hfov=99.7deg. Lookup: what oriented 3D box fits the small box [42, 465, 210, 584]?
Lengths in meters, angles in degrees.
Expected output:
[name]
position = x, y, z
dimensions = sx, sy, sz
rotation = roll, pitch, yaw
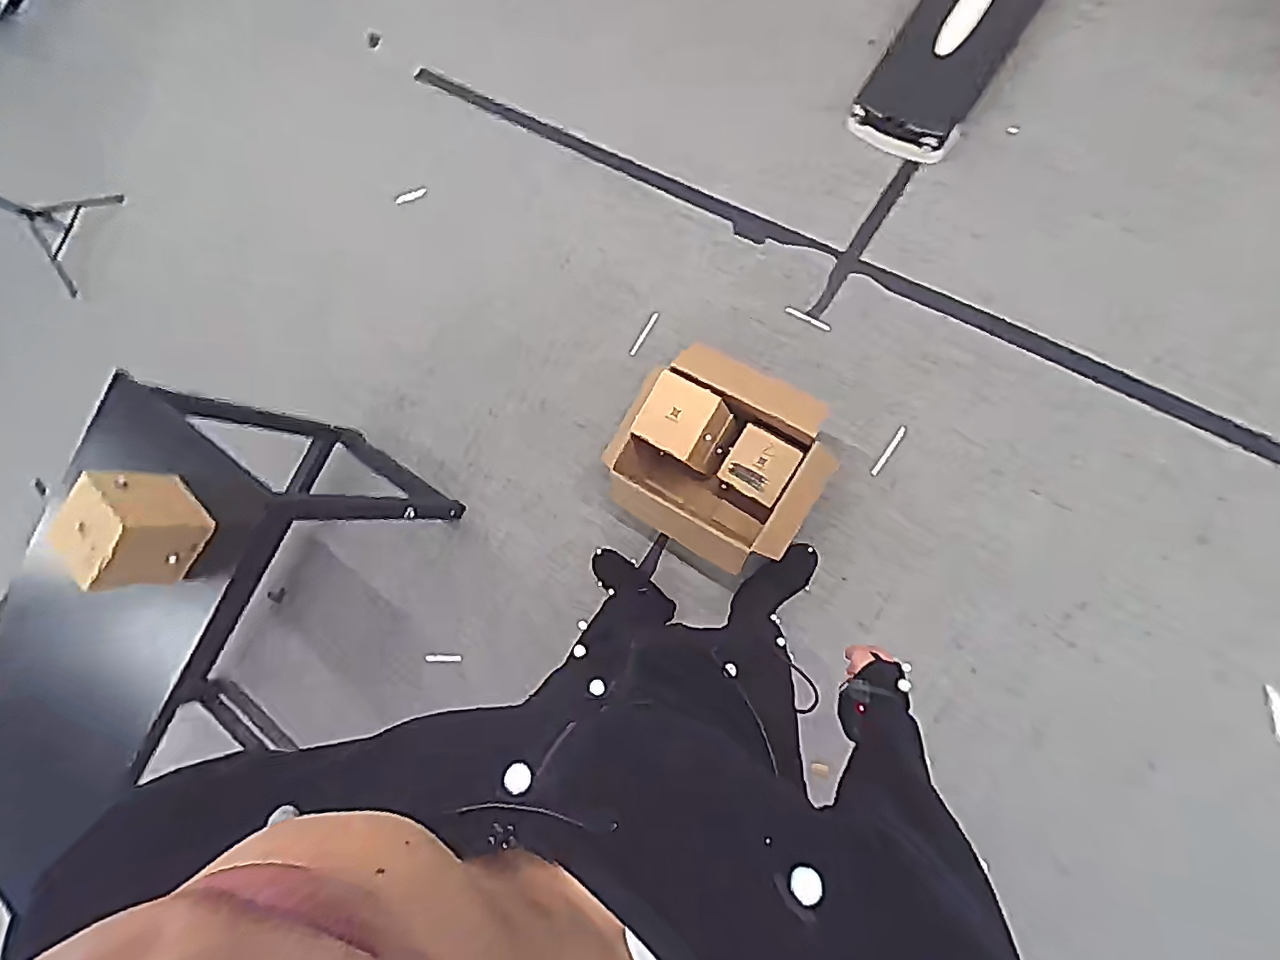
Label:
[small box]
position = -1.050, 0.092, 1.115
dimensions = 0.179, 0.176, 0.168
rotation = 41, 98, 15
